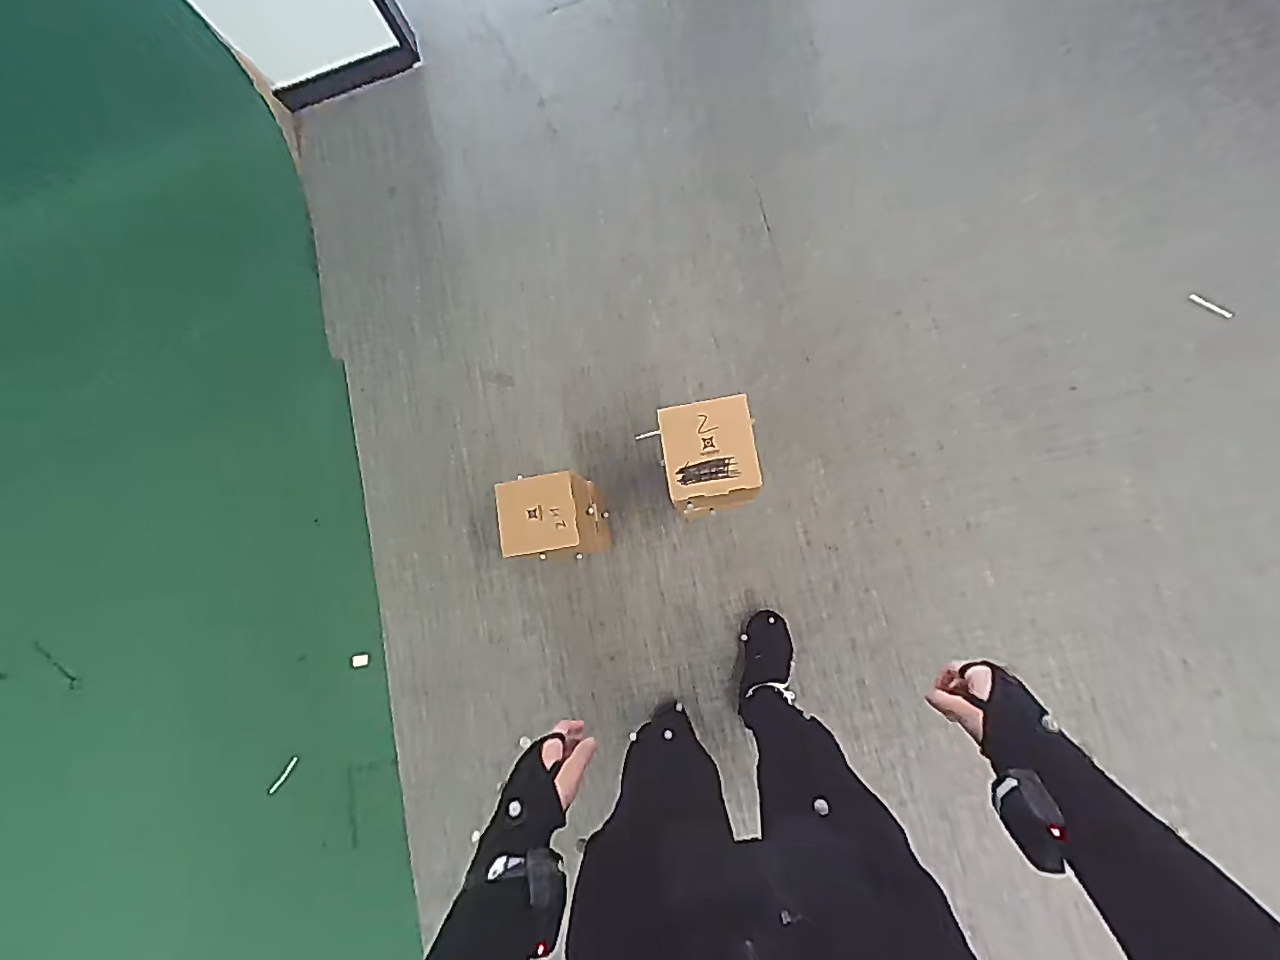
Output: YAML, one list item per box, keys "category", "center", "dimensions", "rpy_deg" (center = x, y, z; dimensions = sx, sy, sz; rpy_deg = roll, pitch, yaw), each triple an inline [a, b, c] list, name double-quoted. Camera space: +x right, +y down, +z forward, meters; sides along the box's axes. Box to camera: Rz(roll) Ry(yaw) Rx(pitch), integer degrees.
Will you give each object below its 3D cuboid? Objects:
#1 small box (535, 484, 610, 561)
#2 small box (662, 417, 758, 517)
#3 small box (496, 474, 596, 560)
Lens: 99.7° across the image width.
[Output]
- category: "small box"
  center: [-0.179, 0.115, 1.405]
  dimensions: [0.179, 0.176, 0.168]
  rpy_deg: [-11, 80, 6]
- category: "small box"
  center: [0.158, -0.019, 1.208]
  dimensions: [0.168, 0.176, 0.179]
  rpy_deg: [-17, 79, 6]
- category: "small box"
  center: [-0.211, 0.092, 1.244]
  dimensions: [0.179, 0.176, 0.168]
  rpy_deg: [-10, 80, 6]
